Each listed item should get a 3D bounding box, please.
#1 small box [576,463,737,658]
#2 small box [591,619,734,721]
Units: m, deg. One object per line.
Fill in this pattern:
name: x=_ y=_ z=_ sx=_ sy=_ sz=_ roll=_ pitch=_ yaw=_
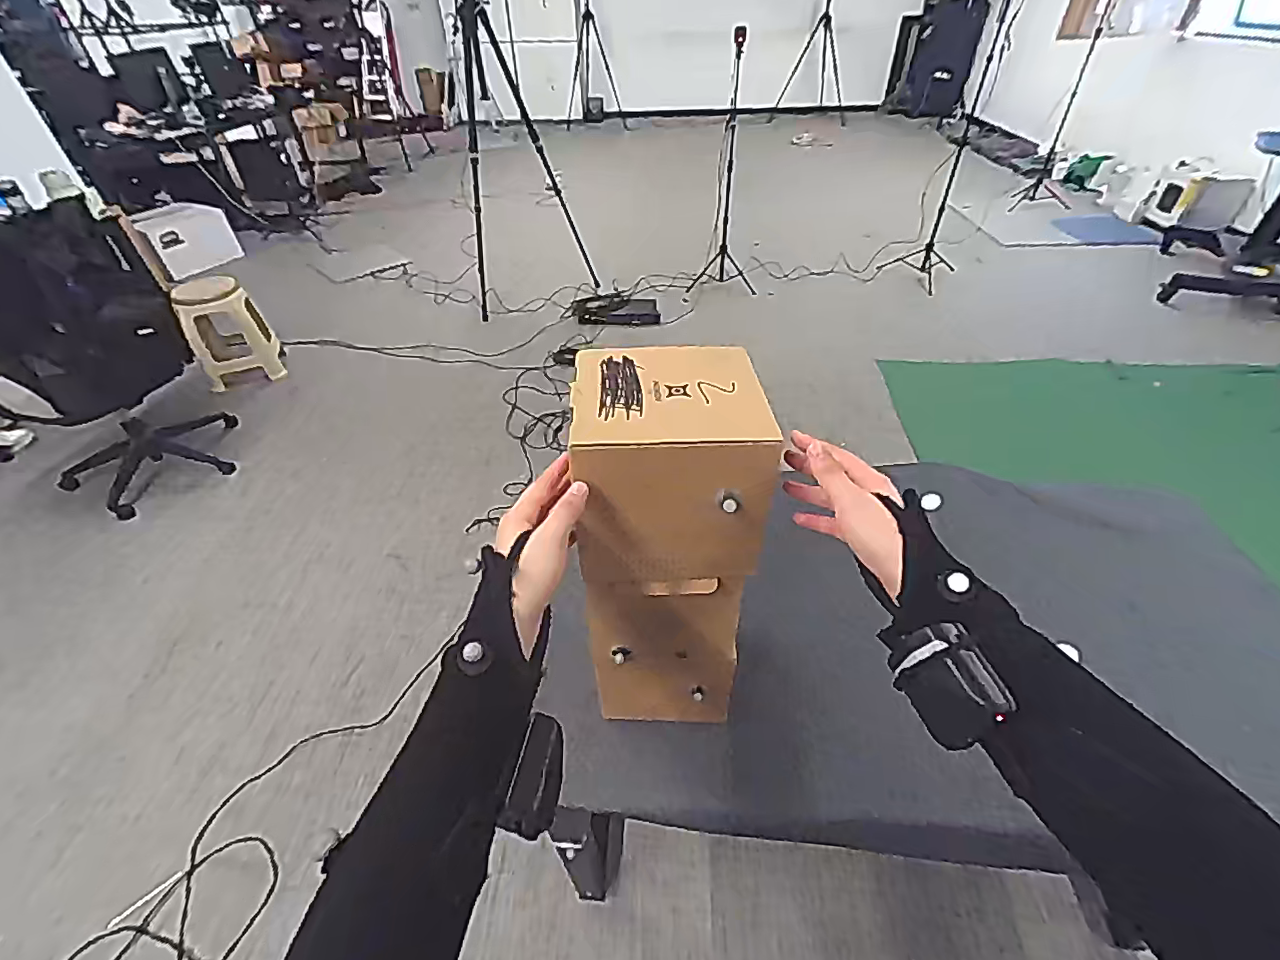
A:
small box: x=0.018 y=0.101 z=0.654 sx=0.168 sy=0.176 sz=0.179 roll=-2 pitch=40 yaw=-1
small box: x=0.033 y=0.223 z=0.763 sx=0.179 sy=0.176 sz=0.168 roll=-1 pitch=40 yaw=3
